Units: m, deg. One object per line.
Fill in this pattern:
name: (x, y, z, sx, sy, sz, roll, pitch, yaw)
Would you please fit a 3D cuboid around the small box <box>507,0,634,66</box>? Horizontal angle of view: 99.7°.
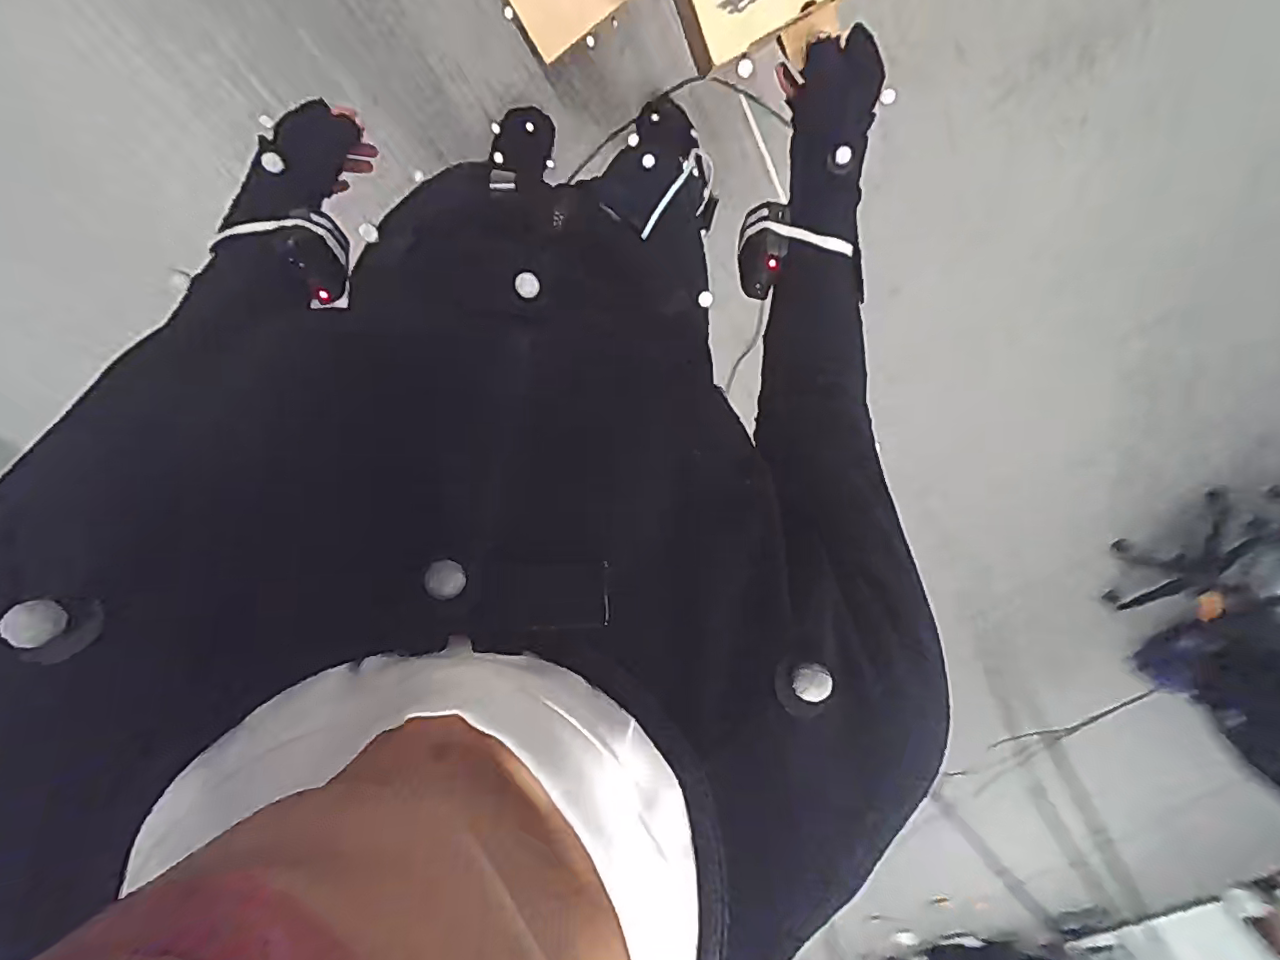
small box: (-0.121, -0.771, 0.828, 0.179, 0.176, 0.168, -29, 125, 12)
